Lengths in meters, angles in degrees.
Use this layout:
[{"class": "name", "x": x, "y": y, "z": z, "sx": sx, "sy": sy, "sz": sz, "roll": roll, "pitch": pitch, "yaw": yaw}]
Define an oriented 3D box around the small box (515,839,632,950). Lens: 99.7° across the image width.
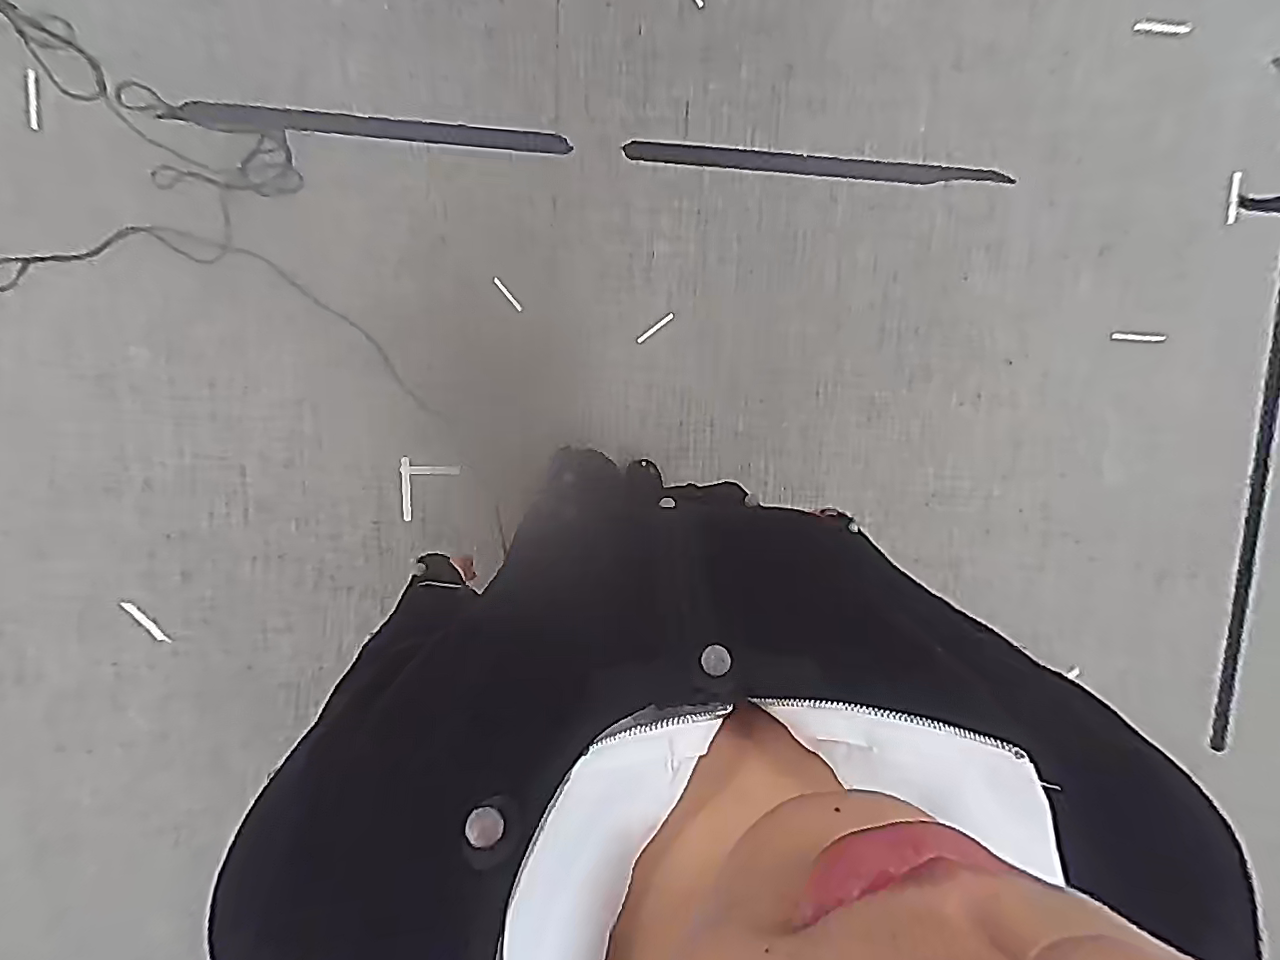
[{"class": "small box", "x": -0.097, "y": 0.701, "z": 0.837, "sx": 0.168, "sy": 0.176, "sz": 0.179, "roll": 1, "pitch": 94, "yaw": -3}]
